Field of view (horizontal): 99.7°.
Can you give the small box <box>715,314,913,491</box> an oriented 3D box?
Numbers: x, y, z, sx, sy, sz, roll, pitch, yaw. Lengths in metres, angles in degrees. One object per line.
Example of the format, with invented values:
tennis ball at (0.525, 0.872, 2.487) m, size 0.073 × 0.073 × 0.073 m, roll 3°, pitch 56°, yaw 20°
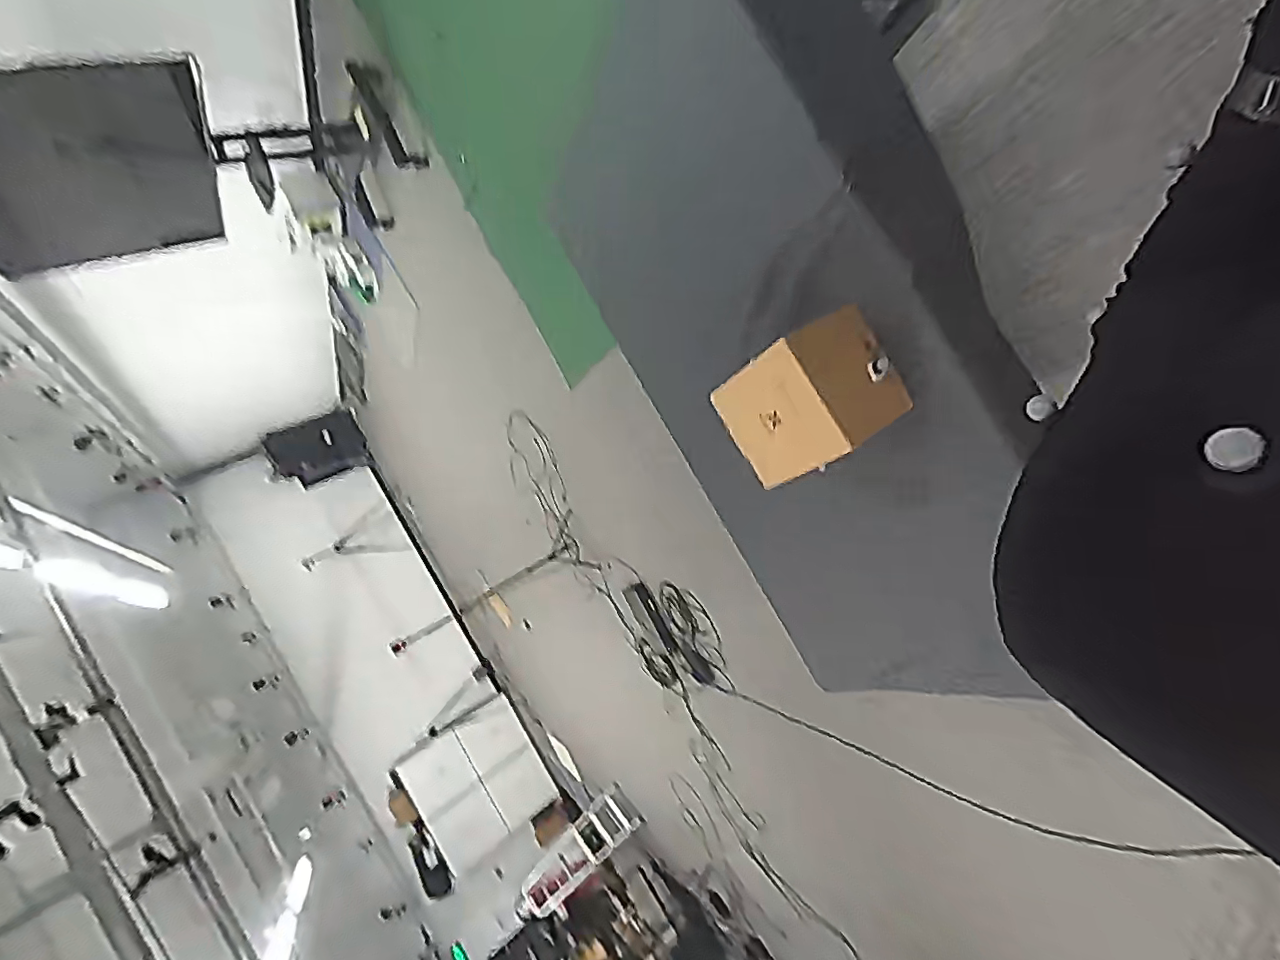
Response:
small box at (0.249, -0.110, 0.784) m, size 0.168 × 0.176 × 0.179 m, roll 58°, pitch 149°, yaw 4°
